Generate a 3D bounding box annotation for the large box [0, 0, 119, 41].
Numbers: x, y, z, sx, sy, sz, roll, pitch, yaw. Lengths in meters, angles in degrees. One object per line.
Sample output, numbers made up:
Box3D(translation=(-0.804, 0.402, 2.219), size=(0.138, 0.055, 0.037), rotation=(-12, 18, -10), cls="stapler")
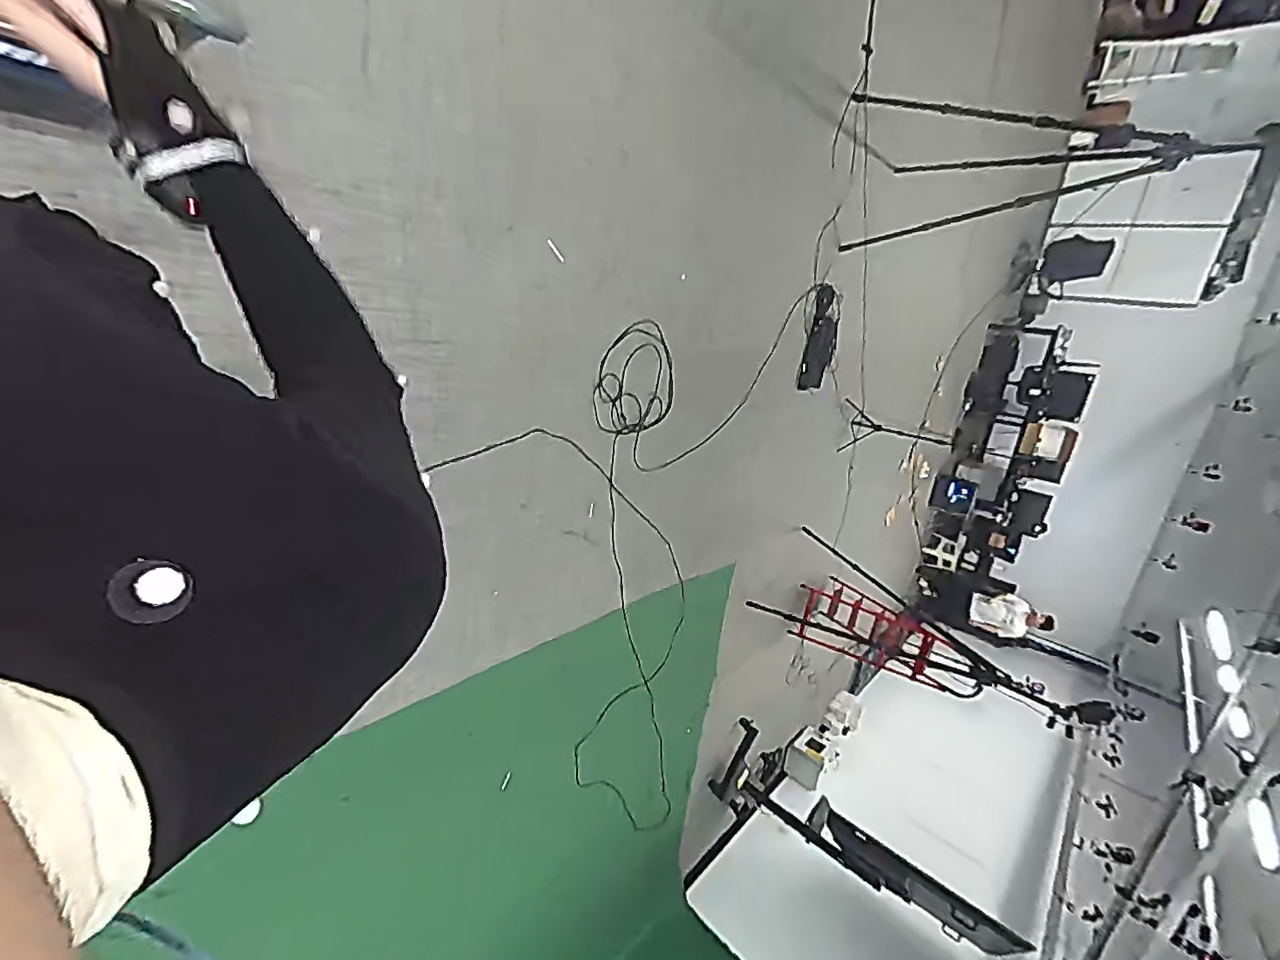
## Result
Box3D(translation=(-0.891, -0.882, 0.675), size=(0.320, 0.320, 0.408), rotation=(-8, 111, -48), cls="large box")
